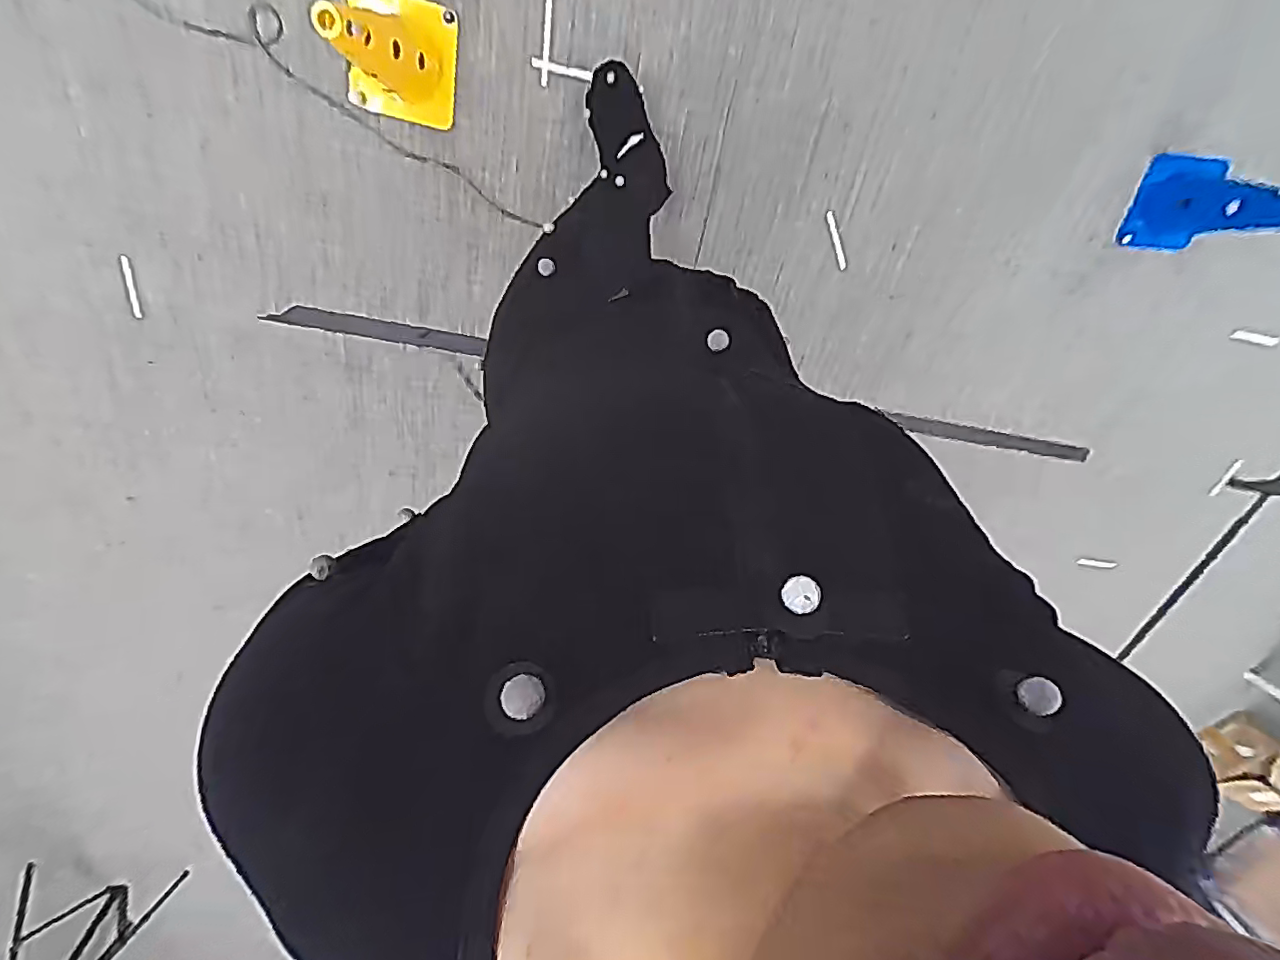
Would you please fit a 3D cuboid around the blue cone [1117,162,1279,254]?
[{"bbox_3d":[1.286,-0.568,1.160,0.193,0.380,0.192,3,120,-7],"label":"blue cone"}]

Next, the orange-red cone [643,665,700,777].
[{"bbox_3d":[0.134,0.845,1.873,0.199,0.360,0.198,3,120,-9],"label":"orange-red cone"}]
